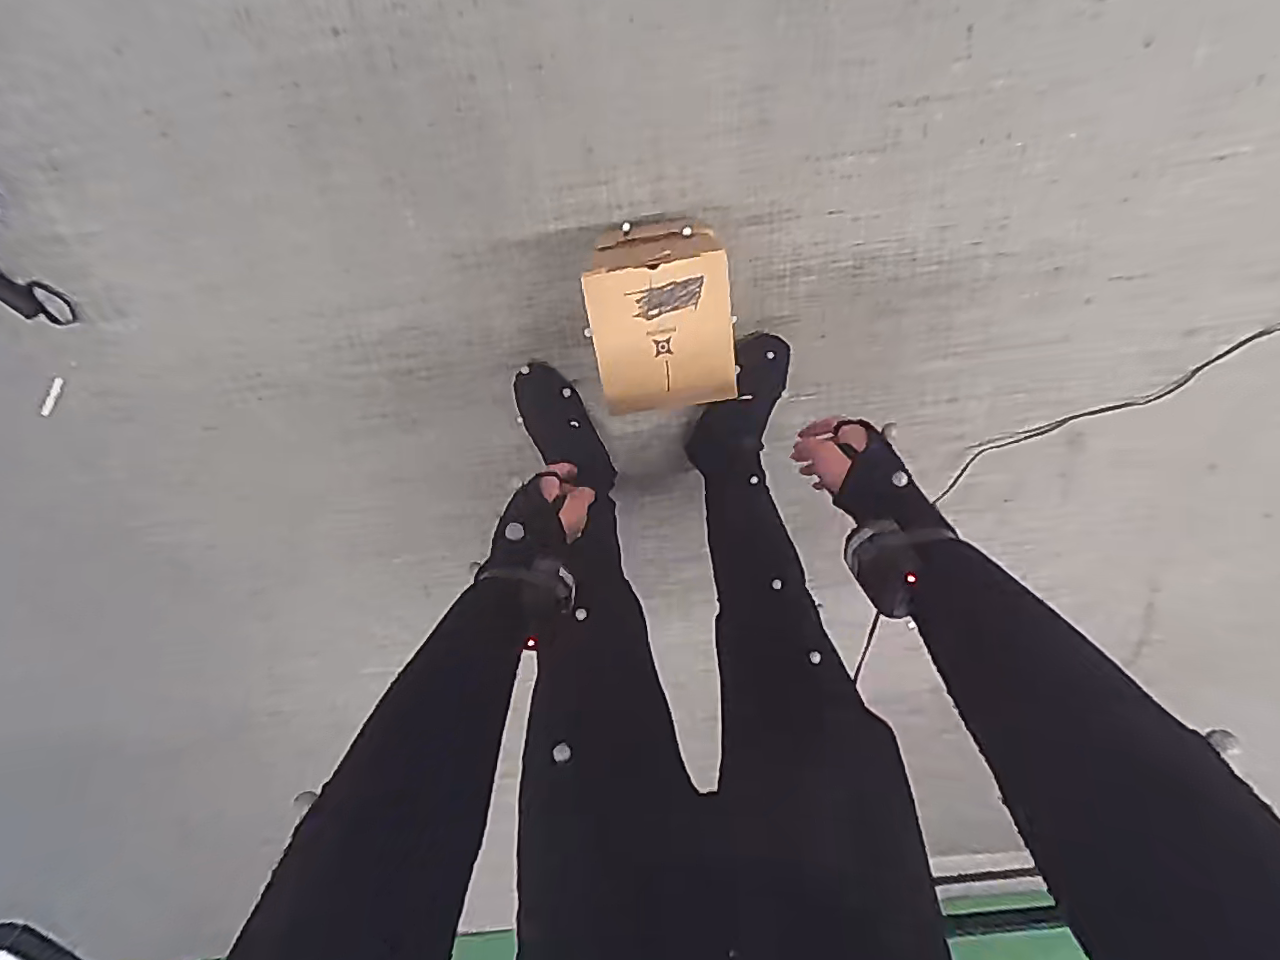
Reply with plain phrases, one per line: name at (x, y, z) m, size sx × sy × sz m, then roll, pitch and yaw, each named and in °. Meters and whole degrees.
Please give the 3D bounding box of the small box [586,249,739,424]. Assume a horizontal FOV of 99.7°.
small box at (0.030, -0.195, 0.705) m, size 0.168 × 0.176 × 0.179 m, roll -8°, pitch 120°, yaw 5°

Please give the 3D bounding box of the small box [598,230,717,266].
small box at (0.033, -0.283, 0.843) m, size 0.168 × 0.176 × 0.179 m, roll -7°, pitch 121°, yaw 5°
